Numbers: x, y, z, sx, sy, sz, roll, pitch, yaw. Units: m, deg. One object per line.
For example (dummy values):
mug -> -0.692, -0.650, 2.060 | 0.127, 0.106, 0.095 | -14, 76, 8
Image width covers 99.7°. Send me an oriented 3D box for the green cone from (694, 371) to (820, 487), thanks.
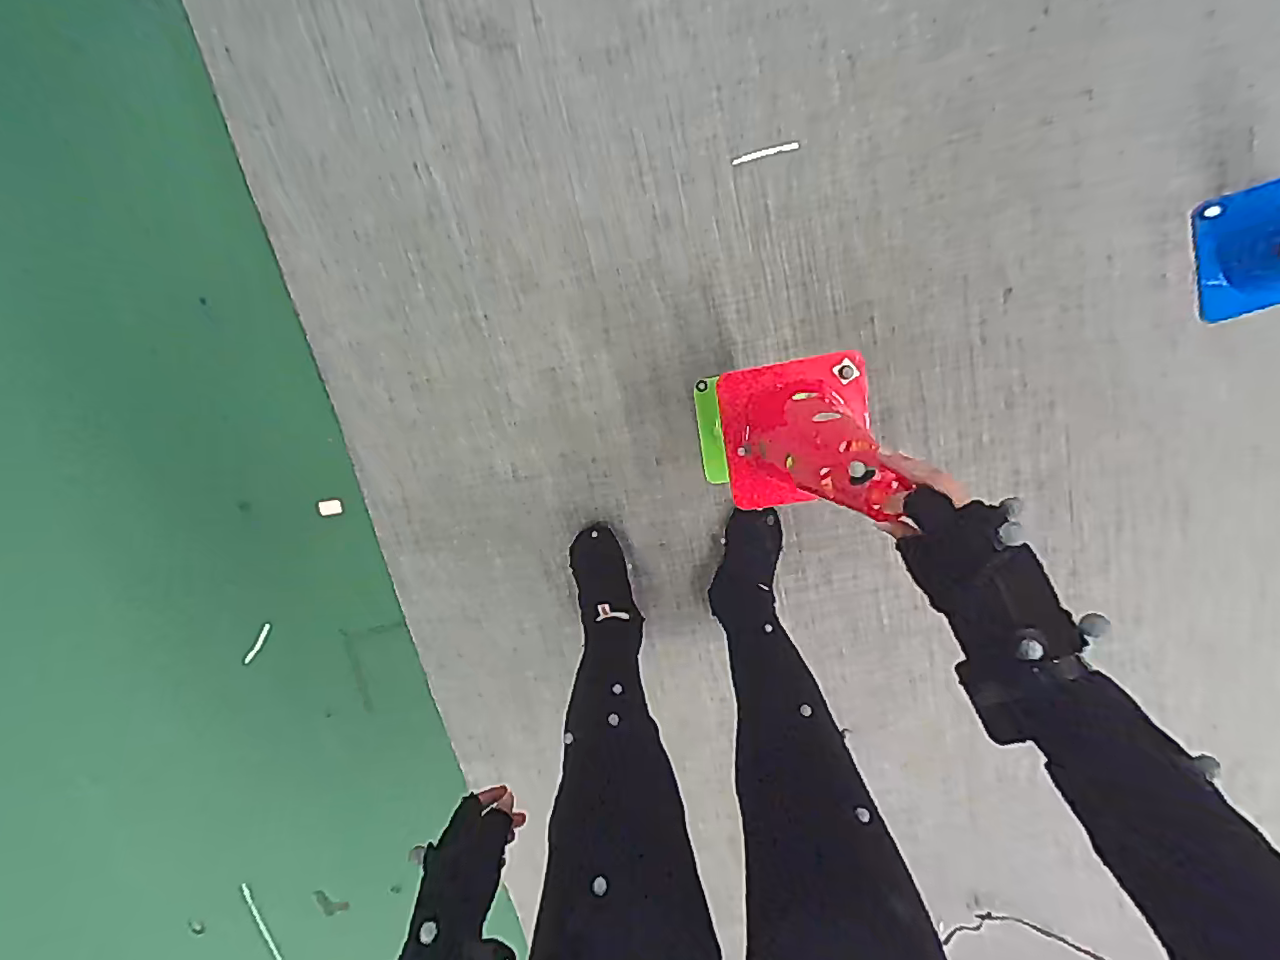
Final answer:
green cone -> 0.205, -0.055, 0.847 | 0.202, 0.368, 0.200 | -9, 102, 4
